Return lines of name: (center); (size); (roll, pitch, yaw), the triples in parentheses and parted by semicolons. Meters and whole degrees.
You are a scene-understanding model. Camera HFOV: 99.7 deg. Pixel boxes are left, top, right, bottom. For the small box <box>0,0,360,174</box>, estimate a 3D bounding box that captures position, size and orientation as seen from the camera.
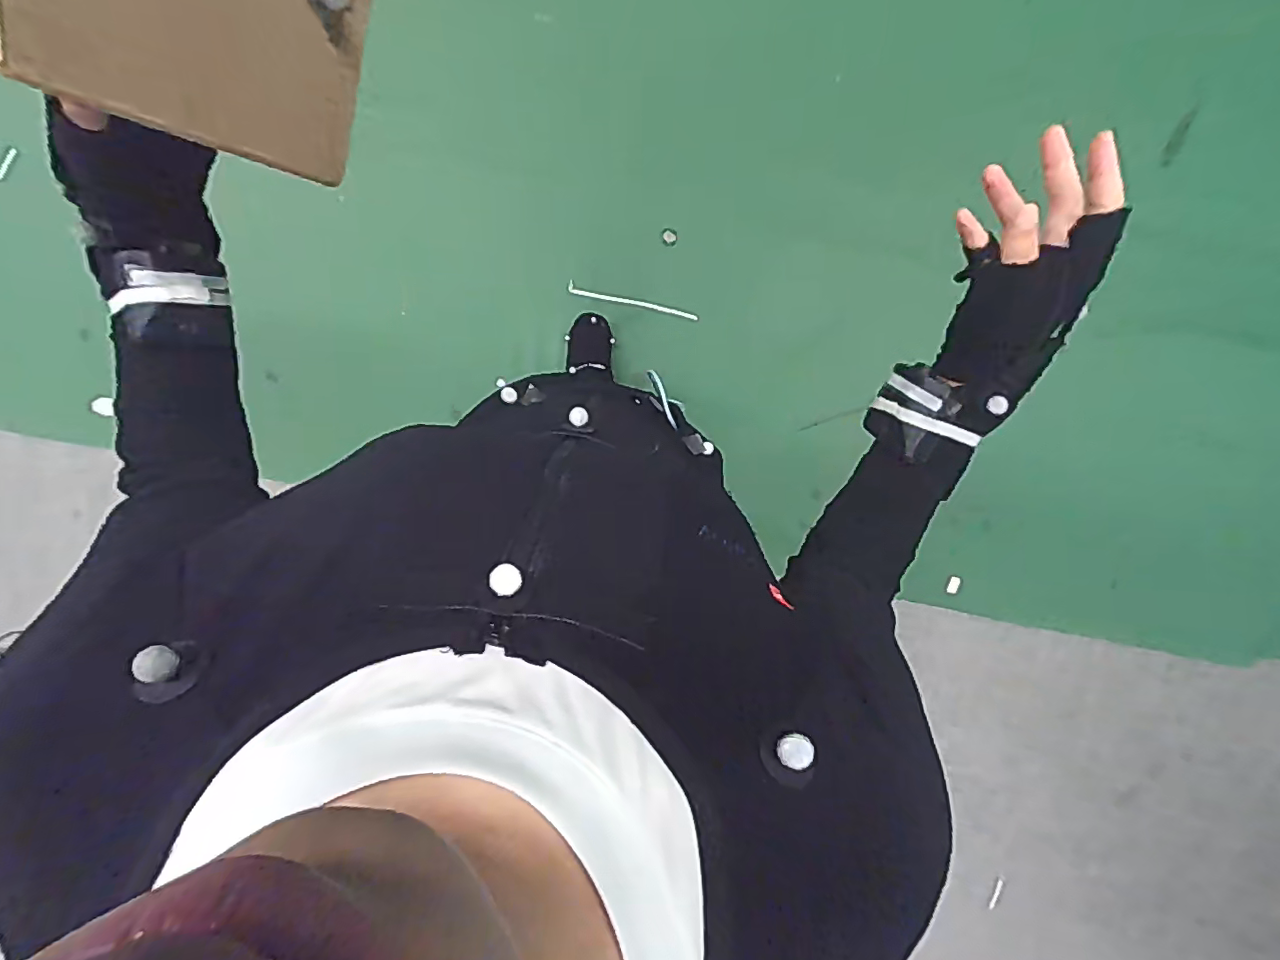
small box: (-0.240, -0.262, 0.222); (0.168, 0.176, 0.179); (22, 108, 3)
